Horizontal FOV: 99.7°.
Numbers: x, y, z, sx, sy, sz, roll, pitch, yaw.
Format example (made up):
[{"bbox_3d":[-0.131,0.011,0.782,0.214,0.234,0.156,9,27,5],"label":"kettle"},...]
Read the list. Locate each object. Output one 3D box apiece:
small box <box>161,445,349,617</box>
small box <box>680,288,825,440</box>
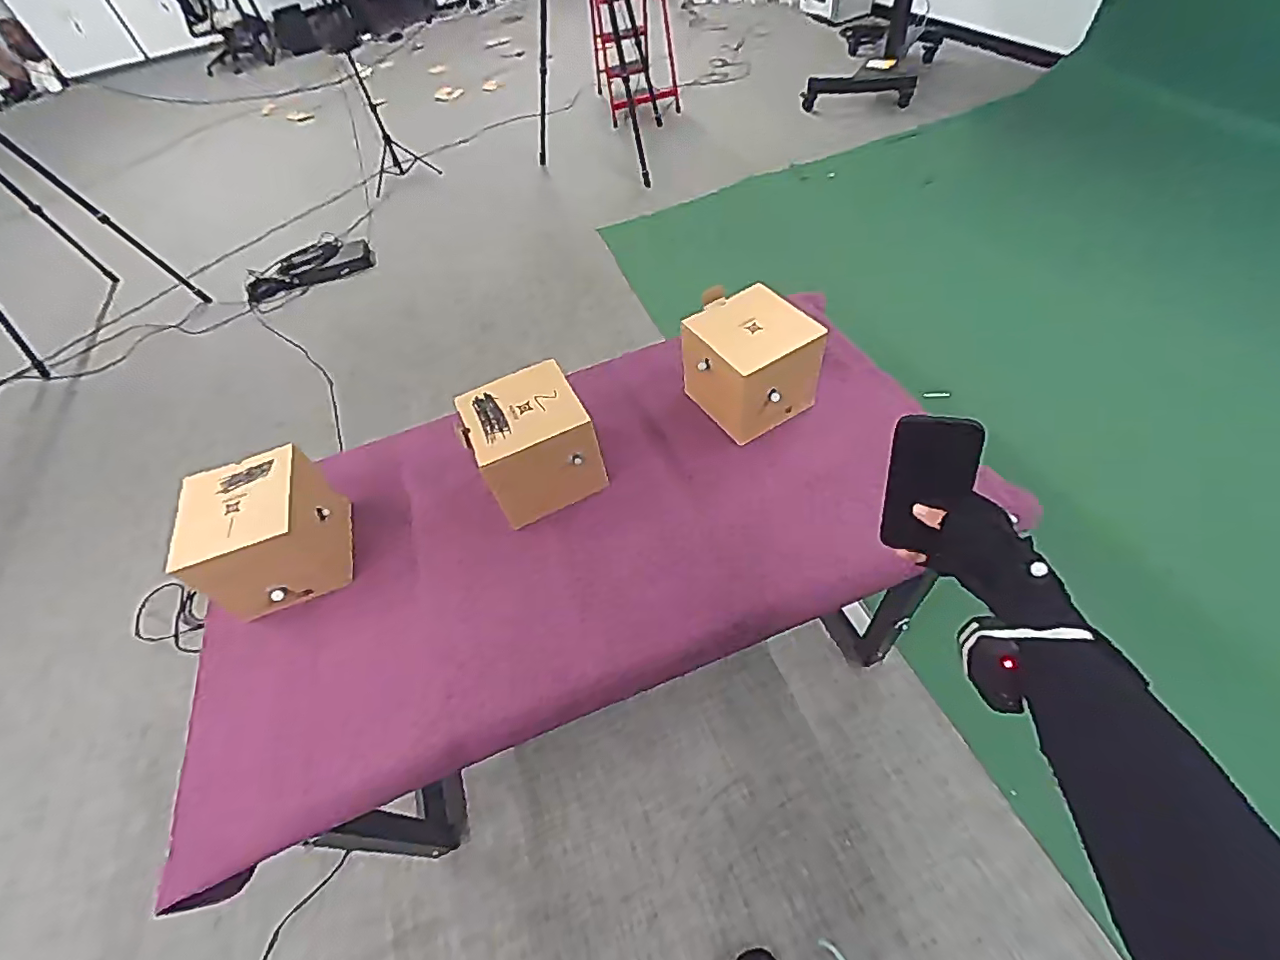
[{"bbox_3d":[-0.573,0.081,0.833,0.168,0.176,0.179,-19,54,-7],"label":"small box"},{"bbox_3d":[0.188,-0.191,0.931,0.168,0.176,0.179,-29,54,-13],"label":"small box"}]
